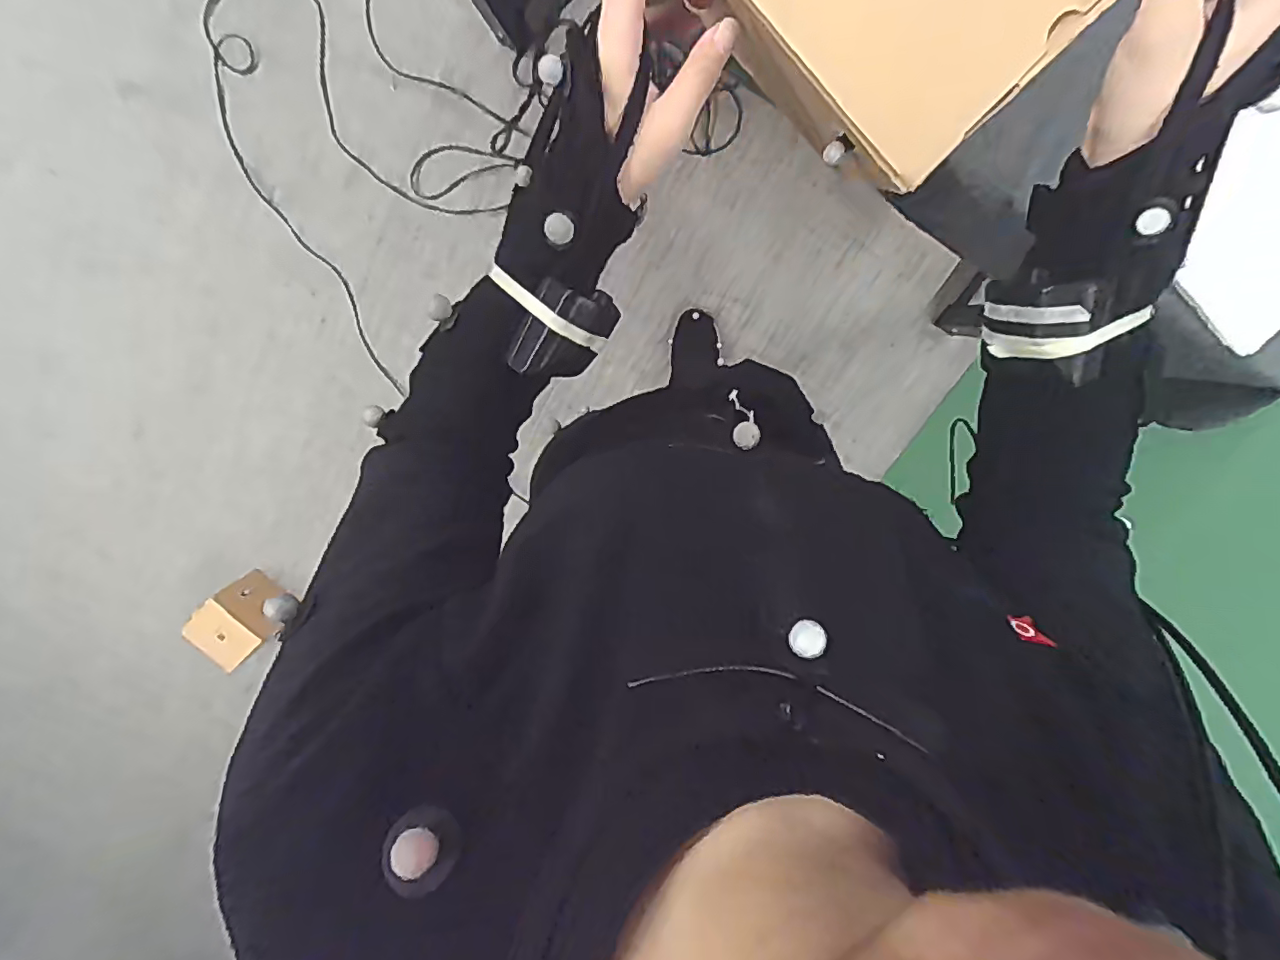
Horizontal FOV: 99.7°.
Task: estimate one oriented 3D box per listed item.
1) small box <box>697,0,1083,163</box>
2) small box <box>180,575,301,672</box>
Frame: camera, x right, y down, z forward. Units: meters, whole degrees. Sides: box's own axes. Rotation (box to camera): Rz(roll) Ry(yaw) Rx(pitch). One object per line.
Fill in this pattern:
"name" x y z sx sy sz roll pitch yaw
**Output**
"small box" 0.136 -0.302 0.290 0.179 0.176 0.168 37 119 -16
"small box" -1.116 0.392 1.523 0.168 0.176 0.179 -41 102 16
